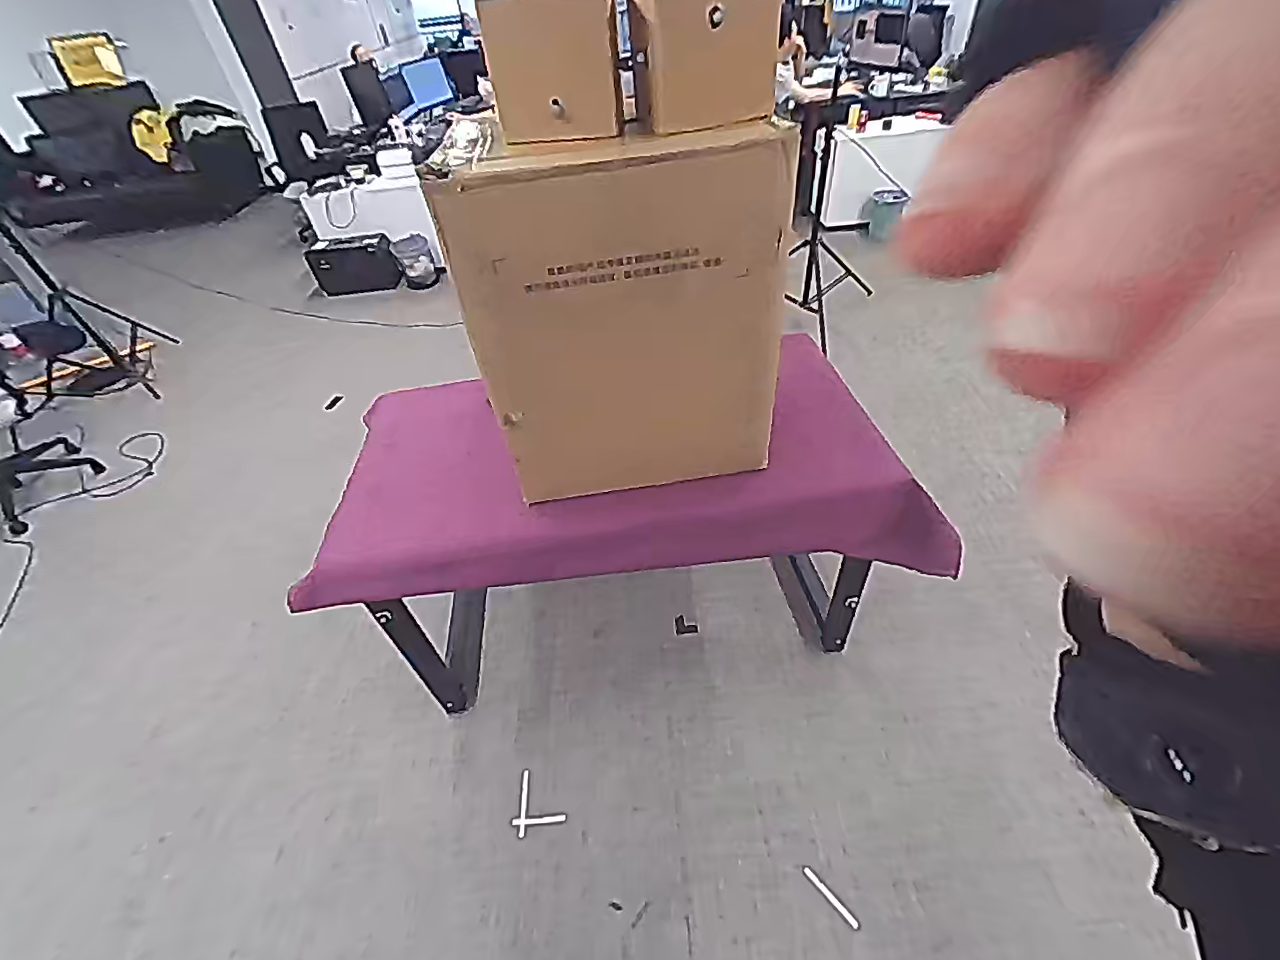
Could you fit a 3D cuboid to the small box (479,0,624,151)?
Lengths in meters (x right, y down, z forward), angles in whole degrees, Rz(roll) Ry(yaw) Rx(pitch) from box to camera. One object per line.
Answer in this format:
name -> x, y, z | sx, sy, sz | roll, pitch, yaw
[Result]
small box -> -0.119, -0.613, 0.817 | 0.179, 0.176, 0.168 | 0, 43, 4
